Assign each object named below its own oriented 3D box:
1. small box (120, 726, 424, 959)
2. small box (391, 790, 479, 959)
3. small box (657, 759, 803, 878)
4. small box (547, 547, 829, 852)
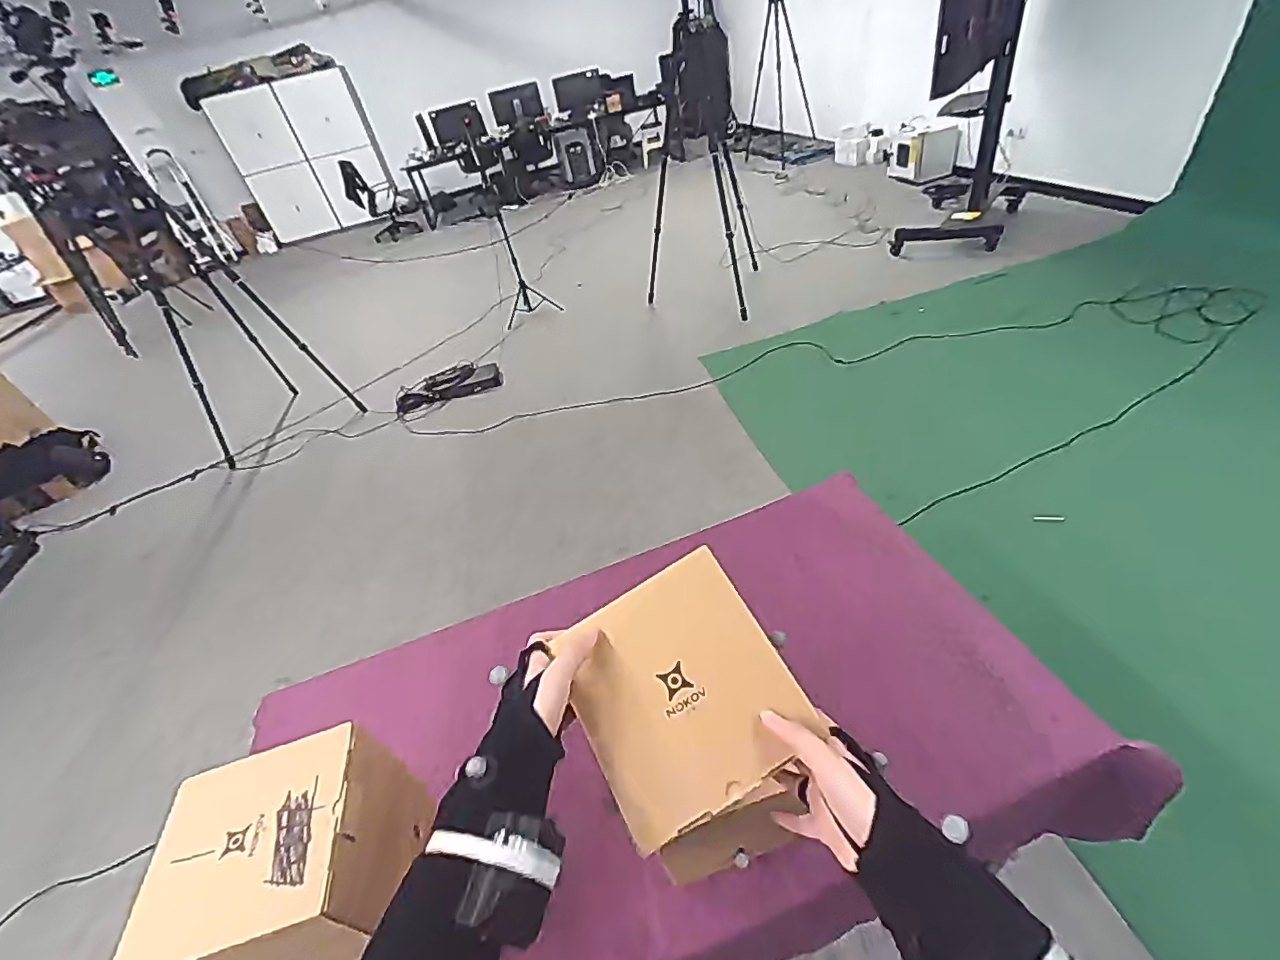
[{"bbox_3d":[-0.333,0.381,0.533,0.179,0.176,0.168,-19,40,-4],"label":"small box"},{"bbox_3d":[-0.306,0.507,0.635,0.179,0.176,0.168,-17,40,-5],"label":"small box"},{"bbox_3d":[0.087,0.363,0.685,0.179,0.176,0.168,-18,39,-5],"label":"small box"},{"bbox_3d":[0.043,0.193,0.502,0.168,0.176,0.179,-33,68,-2],"label":"small box"}]
